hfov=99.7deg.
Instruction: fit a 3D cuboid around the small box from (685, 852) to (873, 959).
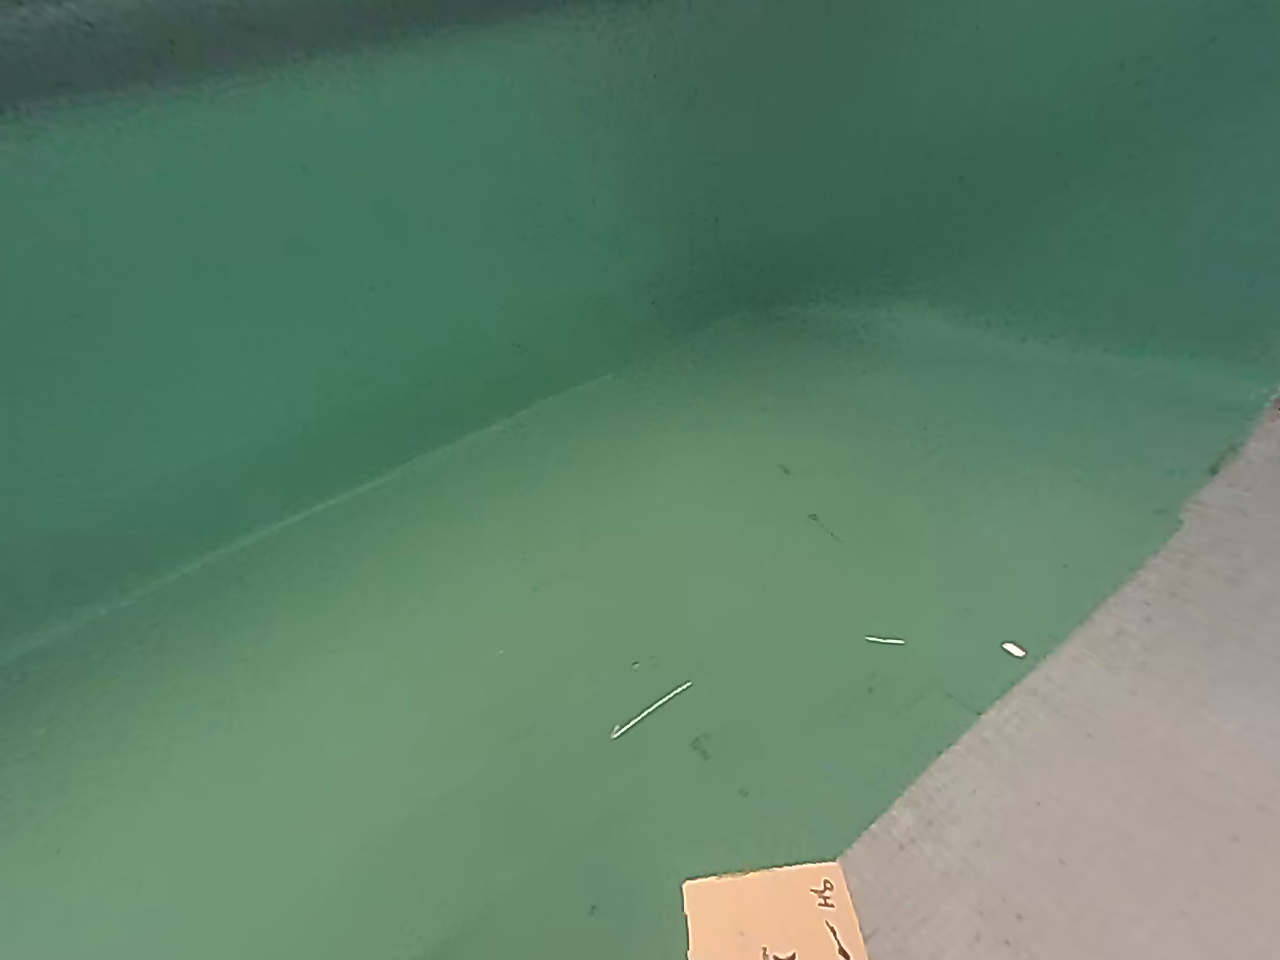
[{"bbox_3d":[0.151,0.522,0.565,0.179,0.176,0.168,-10,34,7],"label":"small box"}]
